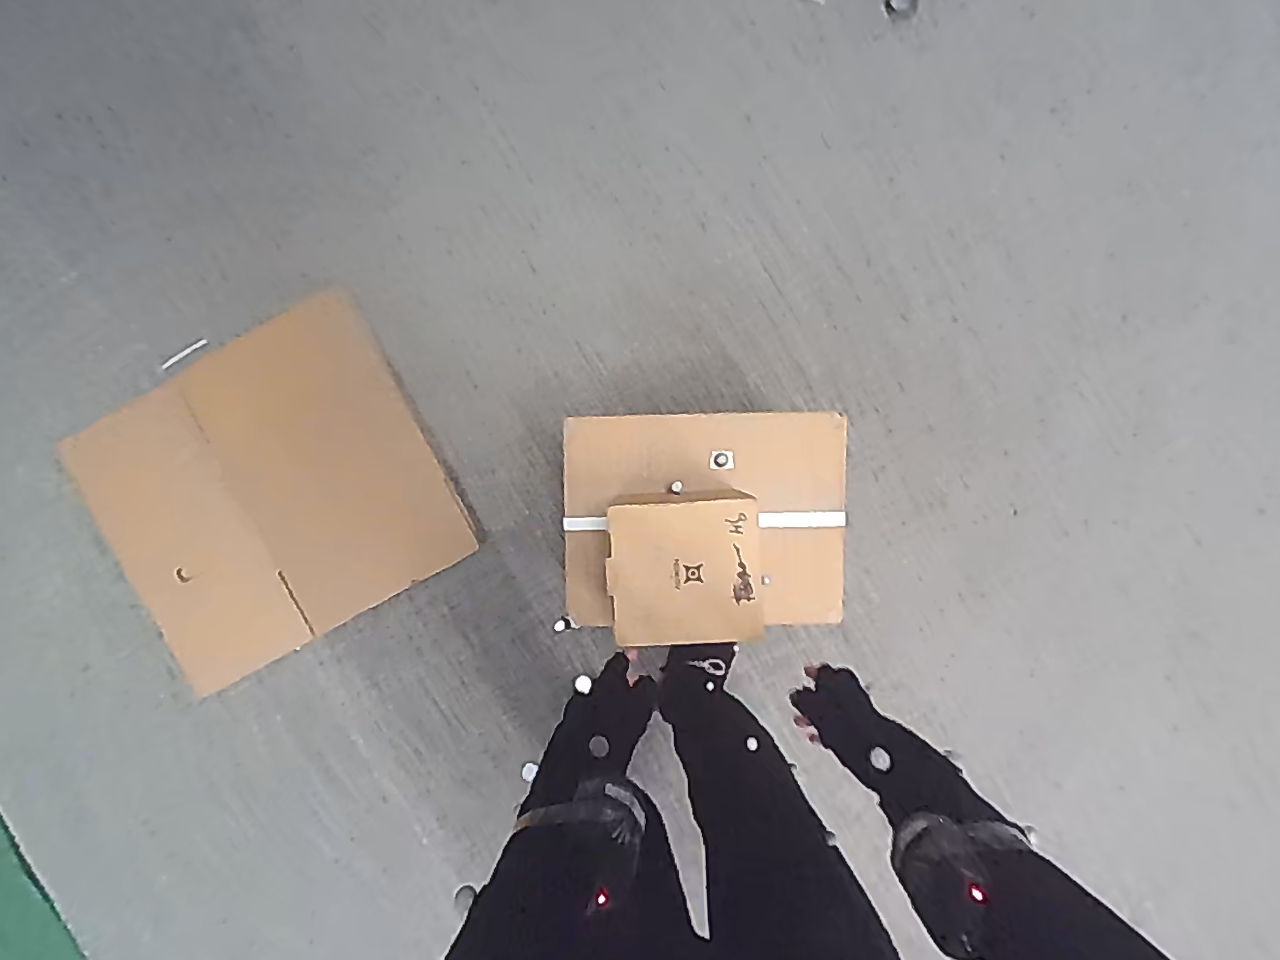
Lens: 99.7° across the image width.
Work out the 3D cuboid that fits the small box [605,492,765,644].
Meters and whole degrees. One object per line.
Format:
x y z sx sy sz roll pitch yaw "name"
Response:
0.056 0.105 0.709 0.179 0.176 0.168 -6 90 2 "small box"
